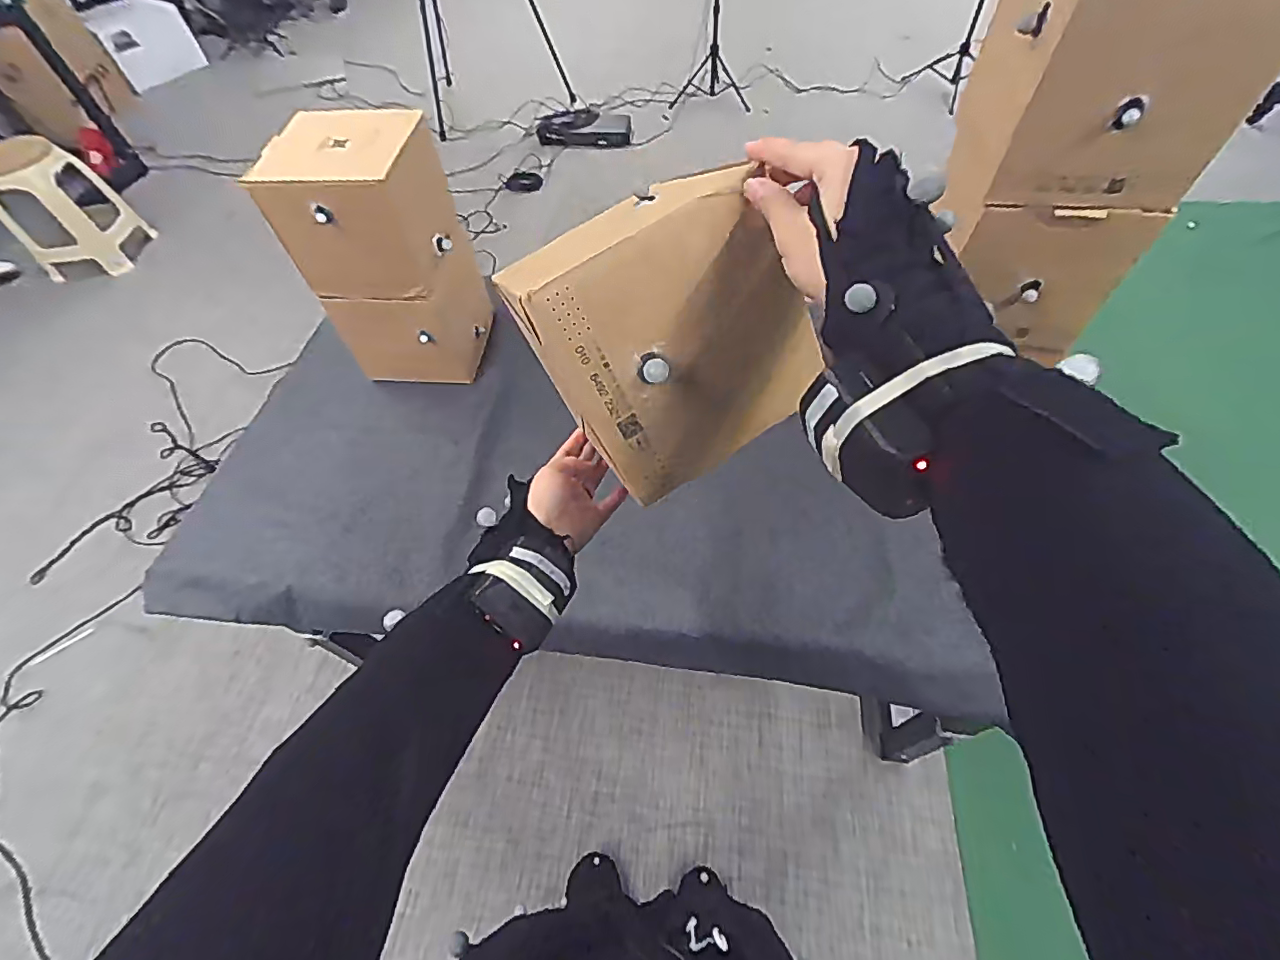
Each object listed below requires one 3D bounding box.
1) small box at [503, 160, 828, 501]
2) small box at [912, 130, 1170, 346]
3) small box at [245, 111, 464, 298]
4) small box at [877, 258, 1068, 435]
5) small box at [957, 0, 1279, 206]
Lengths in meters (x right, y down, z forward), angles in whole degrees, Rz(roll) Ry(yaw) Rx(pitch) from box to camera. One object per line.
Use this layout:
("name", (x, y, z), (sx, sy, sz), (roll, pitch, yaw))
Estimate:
("small box", (0.008, -0.115, 0.420), (0.176, 0.168, 0.179), (-31, 30, -4))
("small box", (0.427, -0.275, 0.615), (0.168, 0.176, 0.179), (7, 58, 9))
("small box", (-0.362, -0.363, 0.725), (0.179, 0.176, 0.168), (2, 59, 4))
("small box", (0.440, -0.188, 0.754), (0.168, 0.176, 0.179), (7, 58, 9))
("small box", (0.410, -0.366, 0.478), (0.168, 0.176, 0.179), (6, 57, 8))
